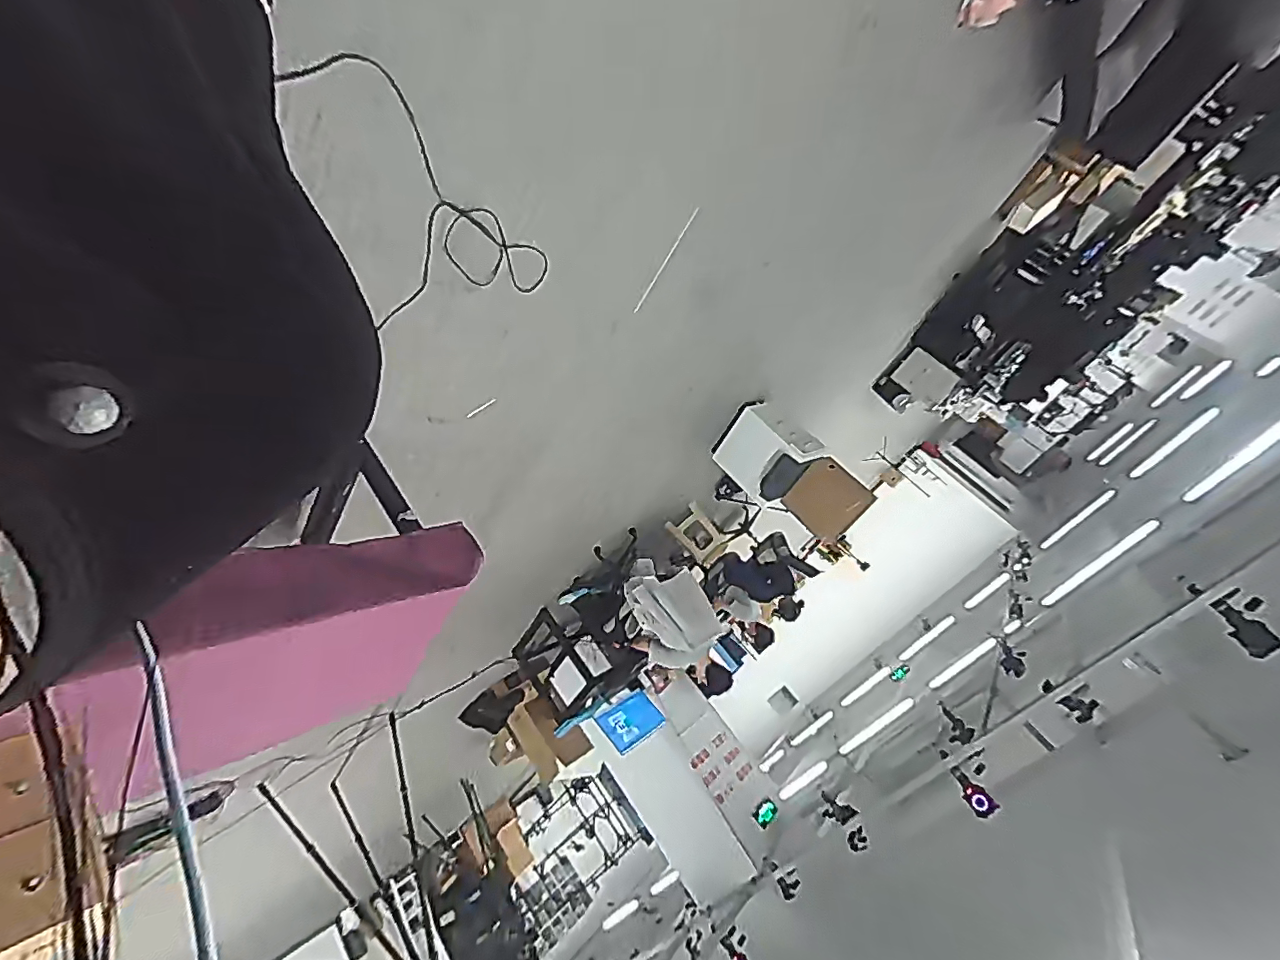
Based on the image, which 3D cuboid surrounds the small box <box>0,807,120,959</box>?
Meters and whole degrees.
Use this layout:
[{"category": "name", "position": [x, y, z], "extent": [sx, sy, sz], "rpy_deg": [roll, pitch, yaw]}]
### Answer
[{"category": "small box", "position": [-0.978, 0.678, 0.867], "extent": [0.179, 0.176, 0.168], "rpy_deg": [-7, 139, -53]}]

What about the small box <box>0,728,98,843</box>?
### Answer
[{"category": "small box", "position": [-1.081, 0.568, 0.935], "extent": [0.179, 0.176, 0.168], "rpy_deg": [-9, 140, -52]}]
